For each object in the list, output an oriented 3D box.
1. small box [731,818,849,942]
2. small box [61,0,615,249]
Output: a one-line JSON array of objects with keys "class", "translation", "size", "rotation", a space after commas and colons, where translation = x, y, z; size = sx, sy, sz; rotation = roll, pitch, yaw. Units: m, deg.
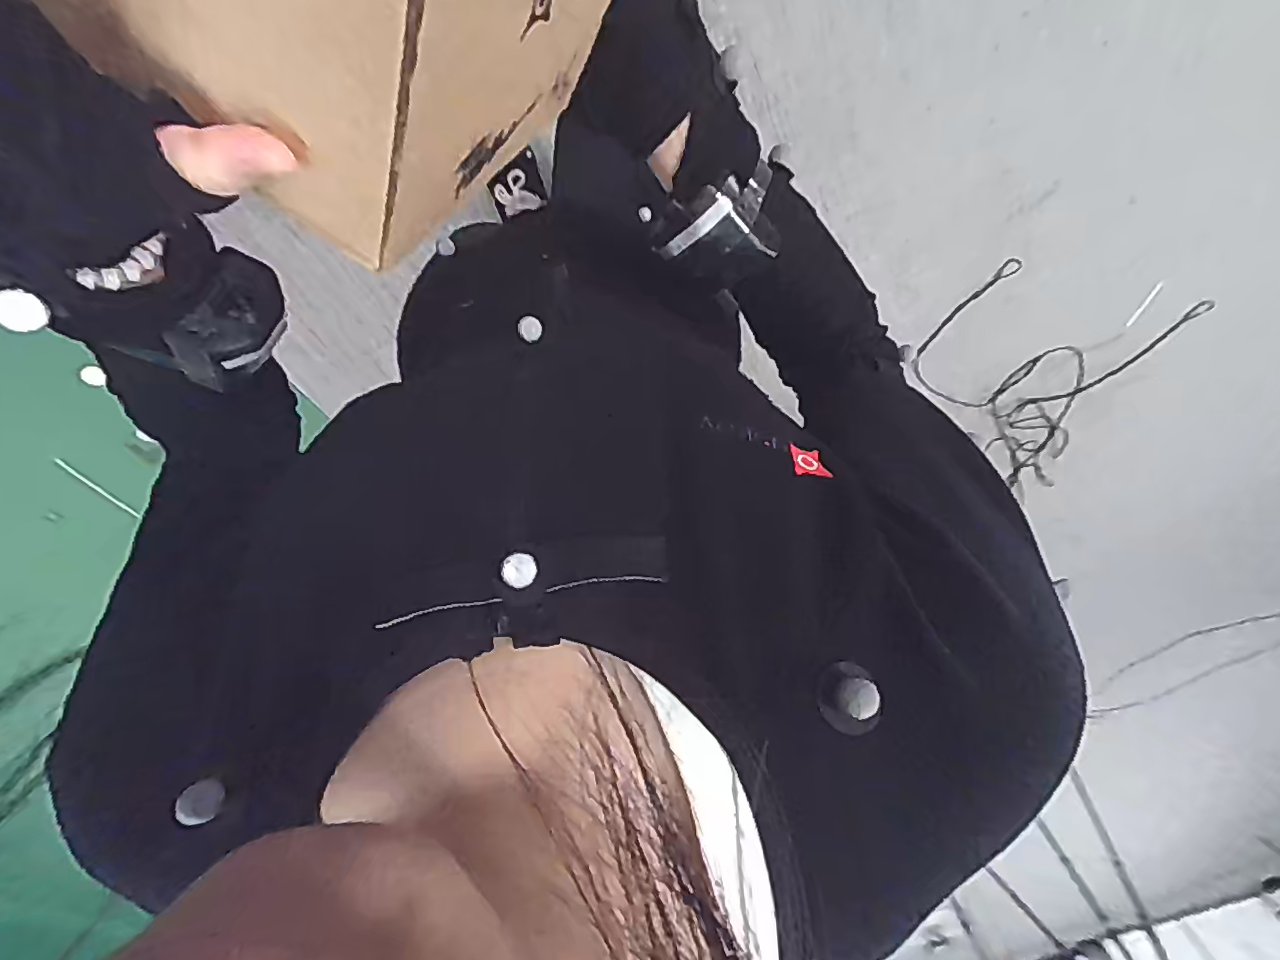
[{"class": "small box", "translation": [0.330, 0.891, 1.210], "size": [0.179, 0.176, 0.168], "rotation": [-30, 125, 11]}, {"class": "small box", "translation": [-0.090, -0.218, 0.155], "size": [0.176, 0.168, 0.179], "rotation": [34, 145, -14]}]
